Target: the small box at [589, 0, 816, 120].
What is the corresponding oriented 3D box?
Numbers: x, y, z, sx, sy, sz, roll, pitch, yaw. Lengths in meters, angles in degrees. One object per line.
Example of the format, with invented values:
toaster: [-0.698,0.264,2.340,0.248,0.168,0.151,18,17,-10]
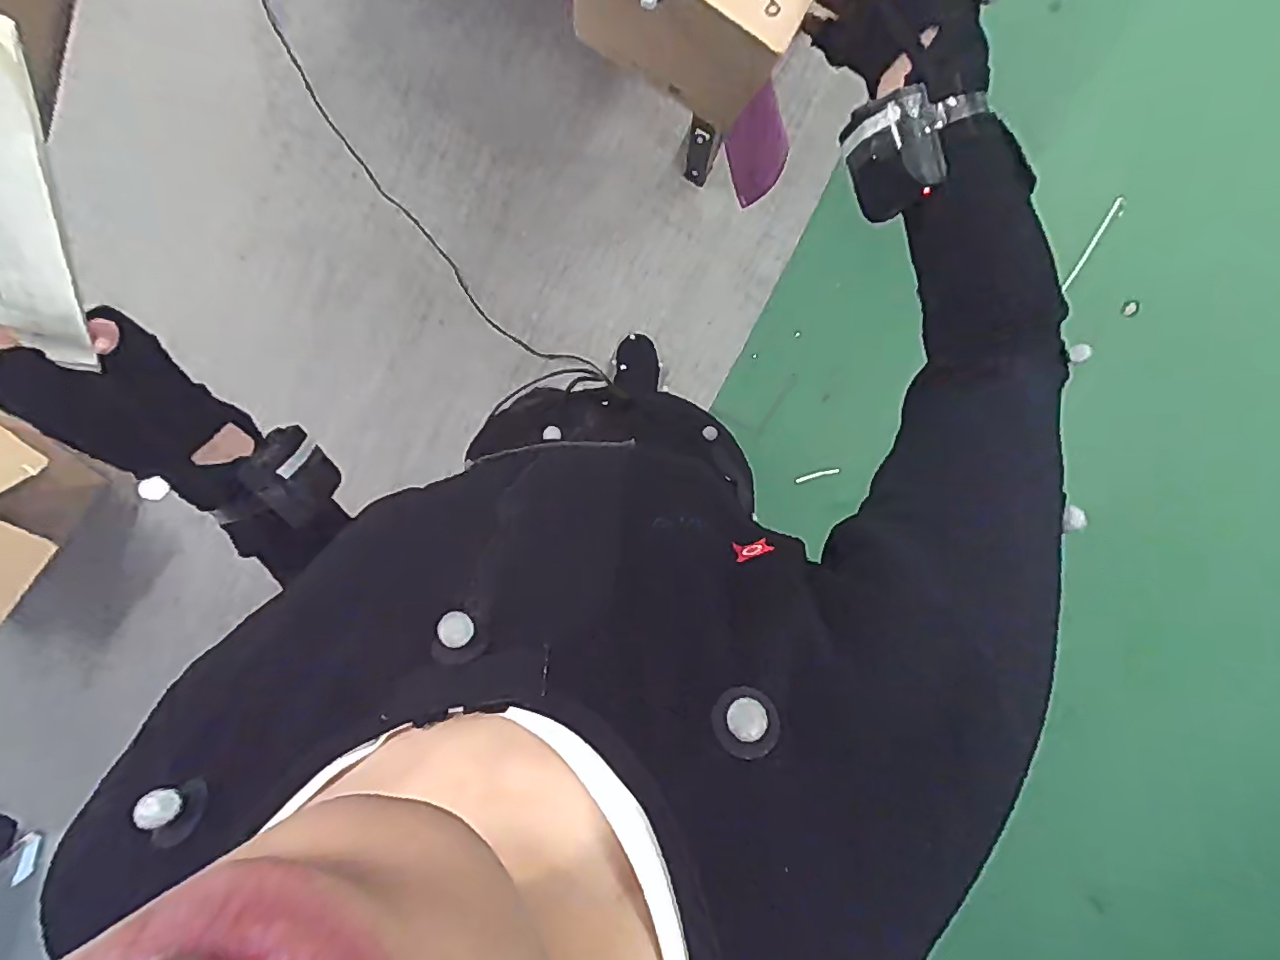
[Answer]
small box: [0.065,-0.429,0.415,0.168,0.176,0.179,26,103,-13]
